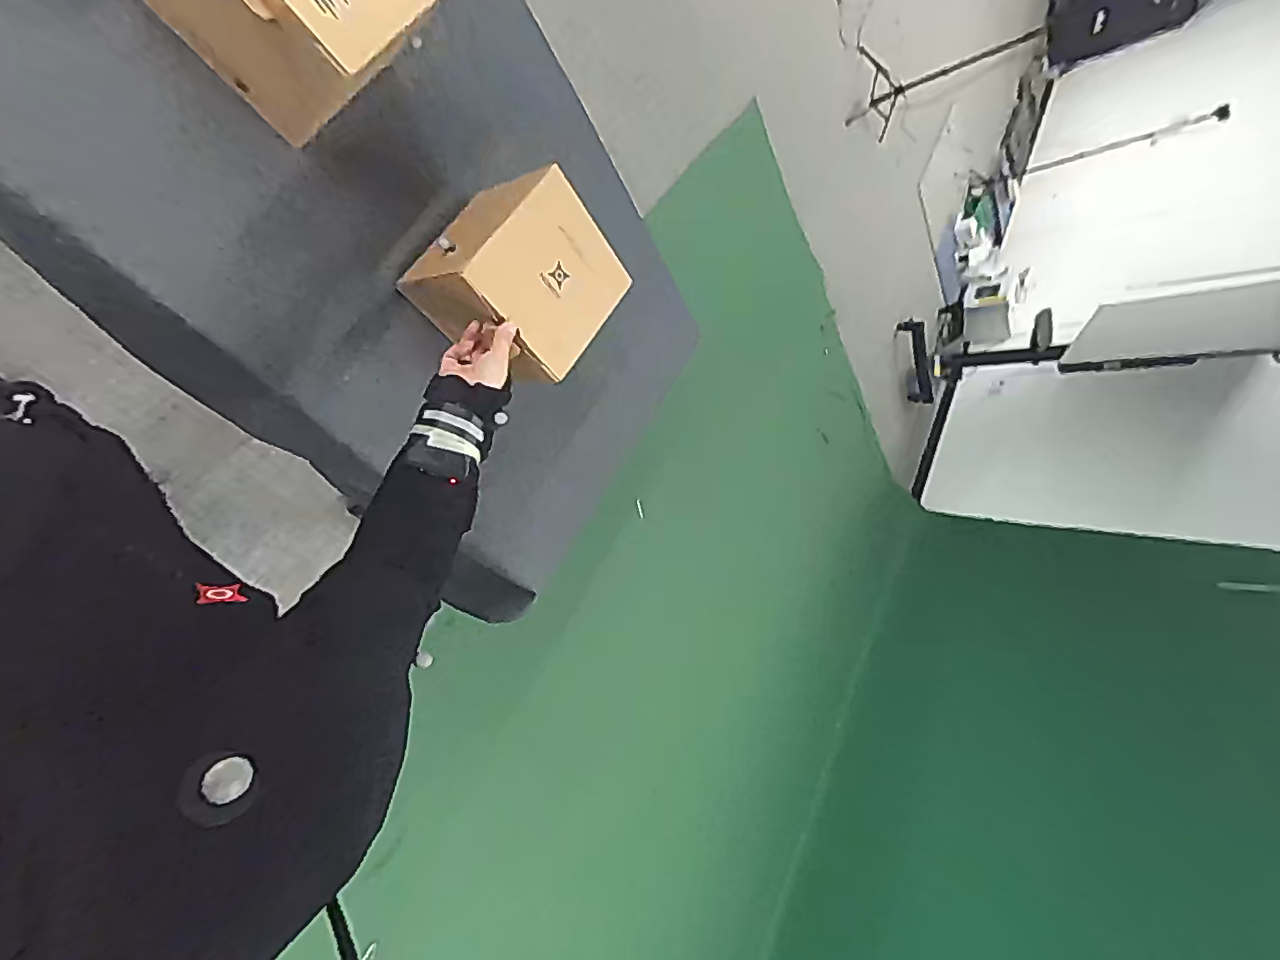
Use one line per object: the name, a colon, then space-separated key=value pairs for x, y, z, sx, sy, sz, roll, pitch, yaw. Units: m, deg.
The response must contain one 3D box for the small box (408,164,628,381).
small box: x=-0.154 y=-0.243 z=0.665 sx=0.168 sy=0.176 sz=0.179 roll=48 pitch=65 yaw=-43
